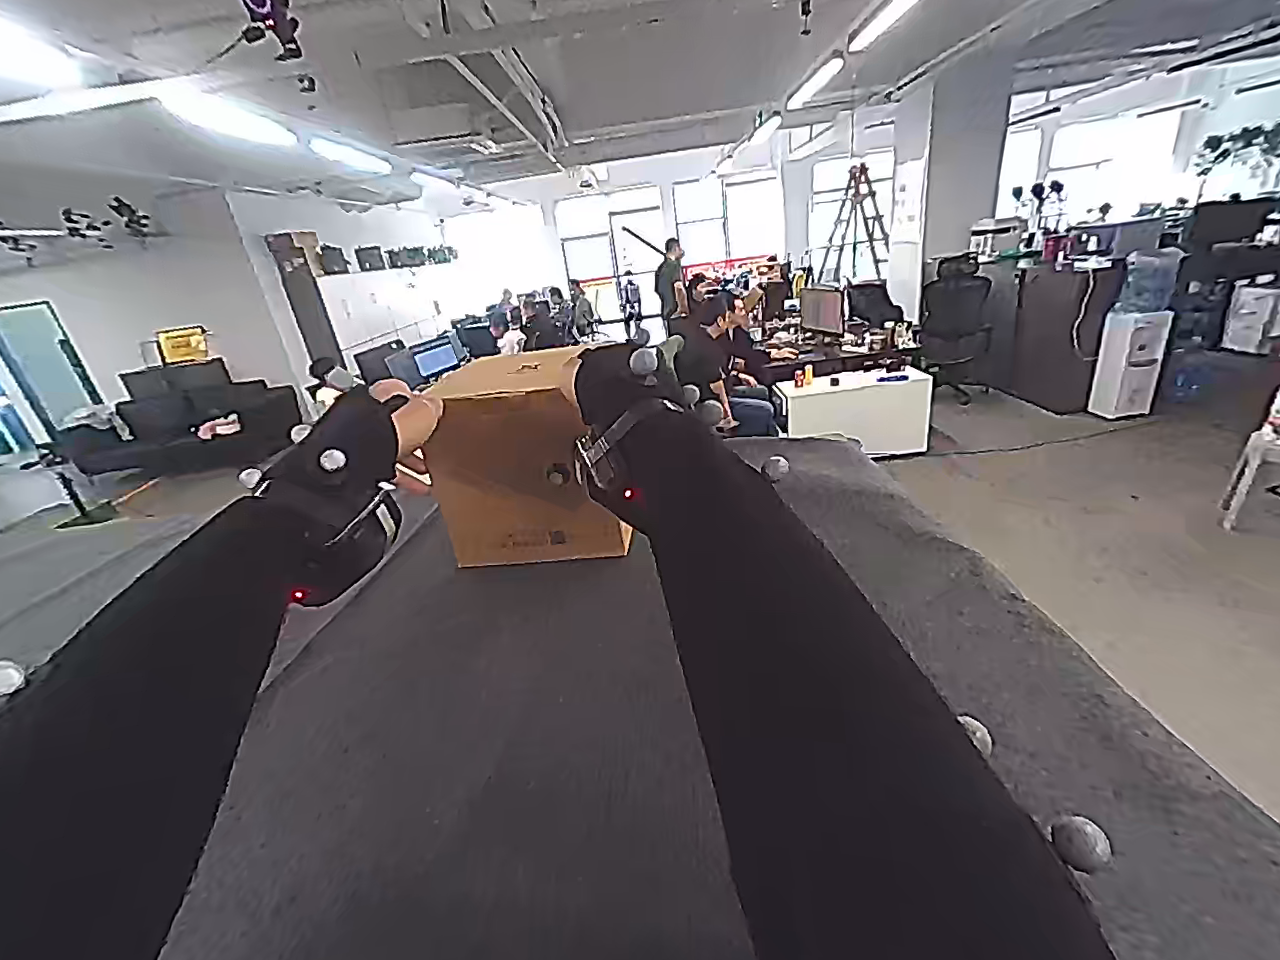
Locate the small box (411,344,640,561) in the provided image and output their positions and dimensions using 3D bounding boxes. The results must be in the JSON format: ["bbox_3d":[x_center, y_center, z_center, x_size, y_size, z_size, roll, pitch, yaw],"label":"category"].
[{"bbox_3d":[-0.094,-0.028,0.547,0.168,0.176,0.179,-4,24,7],"label":"small box"}]
